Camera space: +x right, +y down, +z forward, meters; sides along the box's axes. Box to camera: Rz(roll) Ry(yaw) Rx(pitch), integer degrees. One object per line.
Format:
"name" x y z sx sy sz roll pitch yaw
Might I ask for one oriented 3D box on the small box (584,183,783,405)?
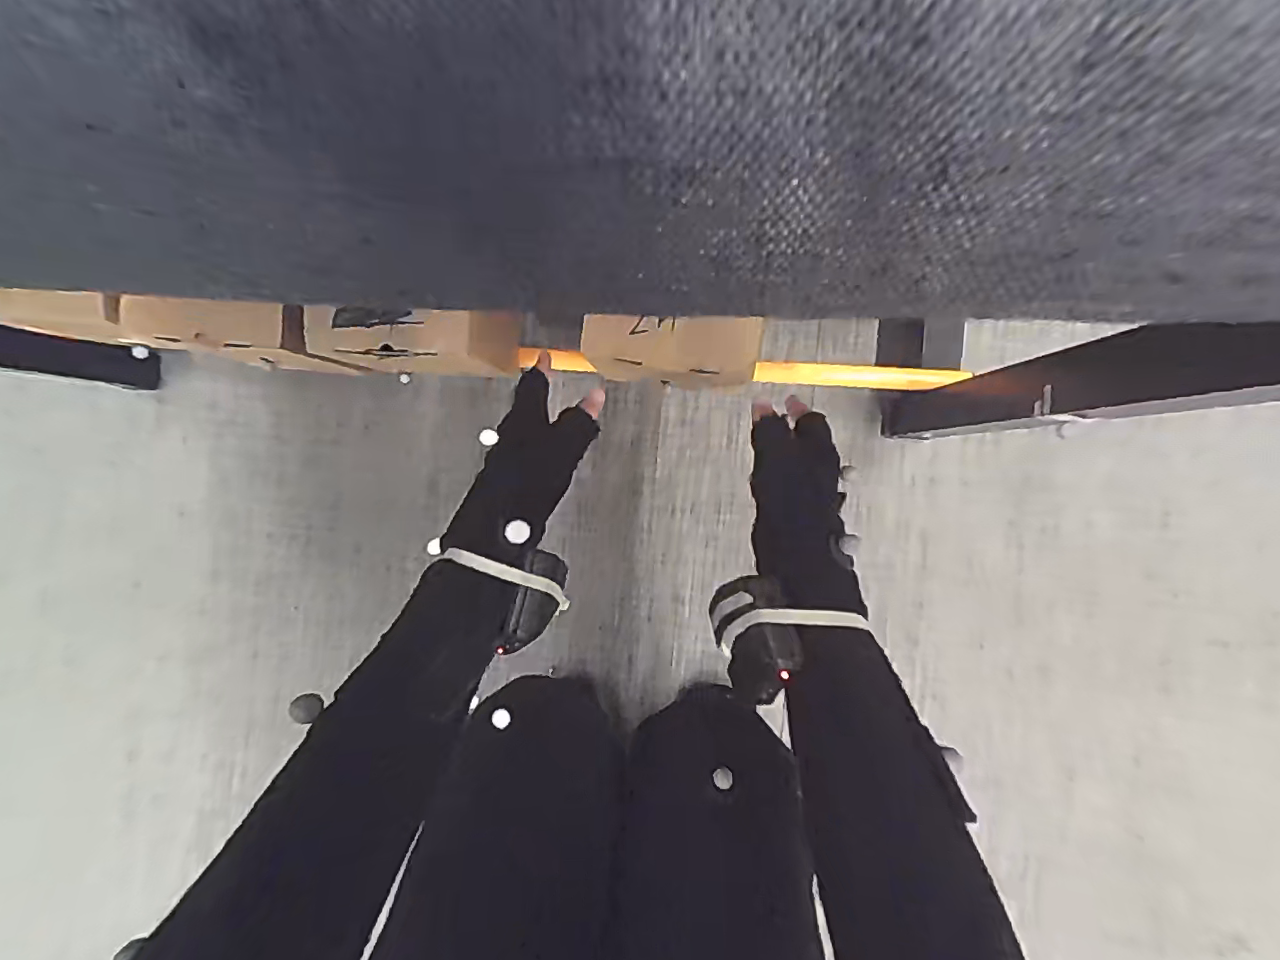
"small box" 0.045 -0.184 0.583 0.168 0.176 0.179 9 94 5
